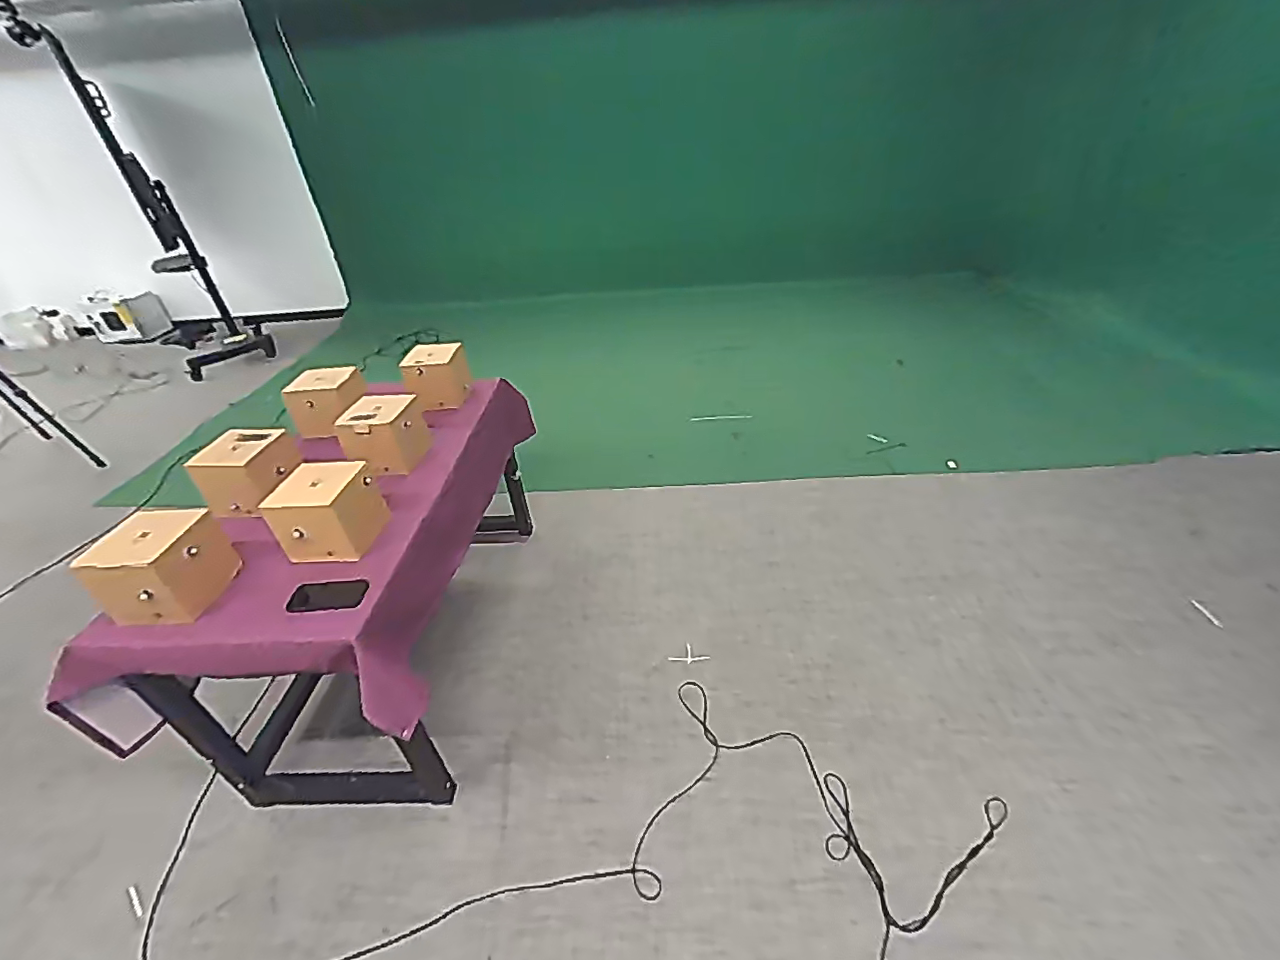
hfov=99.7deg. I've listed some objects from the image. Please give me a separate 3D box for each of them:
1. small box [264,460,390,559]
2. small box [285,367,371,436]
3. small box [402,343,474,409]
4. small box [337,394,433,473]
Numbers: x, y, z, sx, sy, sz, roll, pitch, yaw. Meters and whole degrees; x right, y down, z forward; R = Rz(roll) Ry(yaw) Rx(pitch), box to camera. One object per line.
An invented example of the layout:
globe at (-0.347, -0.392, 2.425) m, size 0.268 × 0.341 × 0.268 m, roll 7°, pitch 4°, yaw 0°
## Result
small box at (-0.717, 0.073, 1.266) m, size 0.168 × 0.176 × 0.179 m, roll -2°, pitch 34°, yaw 5°
small box at (-0.998, -0.254, 1.759) m, size 0.179 × 0.176 × 0.168 m, roll -4°, pitch 36°, yaw 2°
small box at (-0.688, -0.360, 1.869) m, size 0.168 × 0.176 × 0.179 m, roll -3°, pitch 35°, yaw 3°
small box at (-0.721, -0.132, 1.554) m, size 0.168 × 0.176 × 0.179 m, roll -1°, pitch 35°, yaw 6°
